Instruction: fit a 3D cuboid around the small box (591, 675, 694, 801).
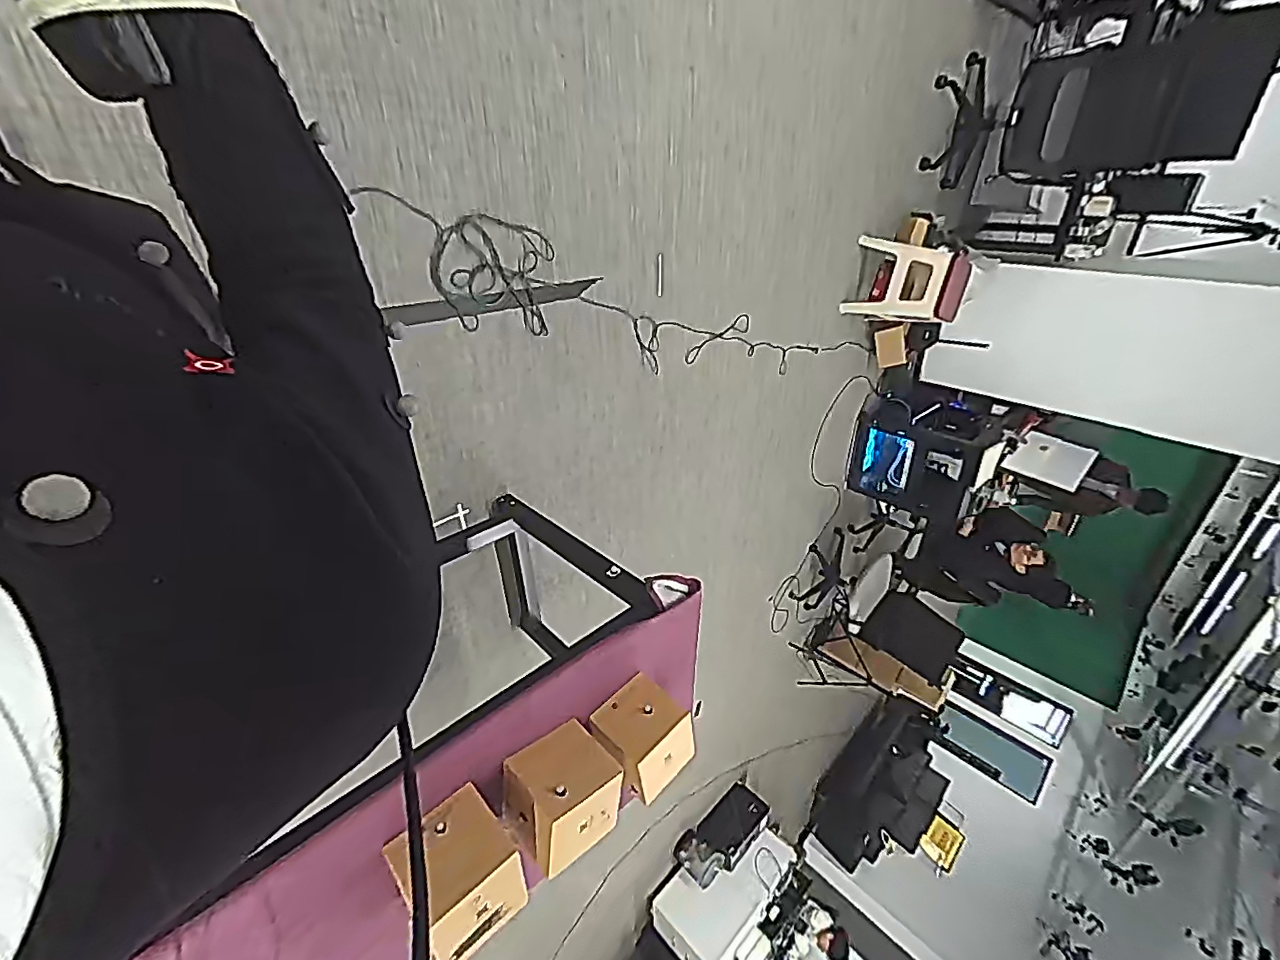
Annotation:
[{"bbox_3d":[0.006,0.581,1.247,0.168,0.176,0.179,-33,131,-32],"label":"small box"}]
